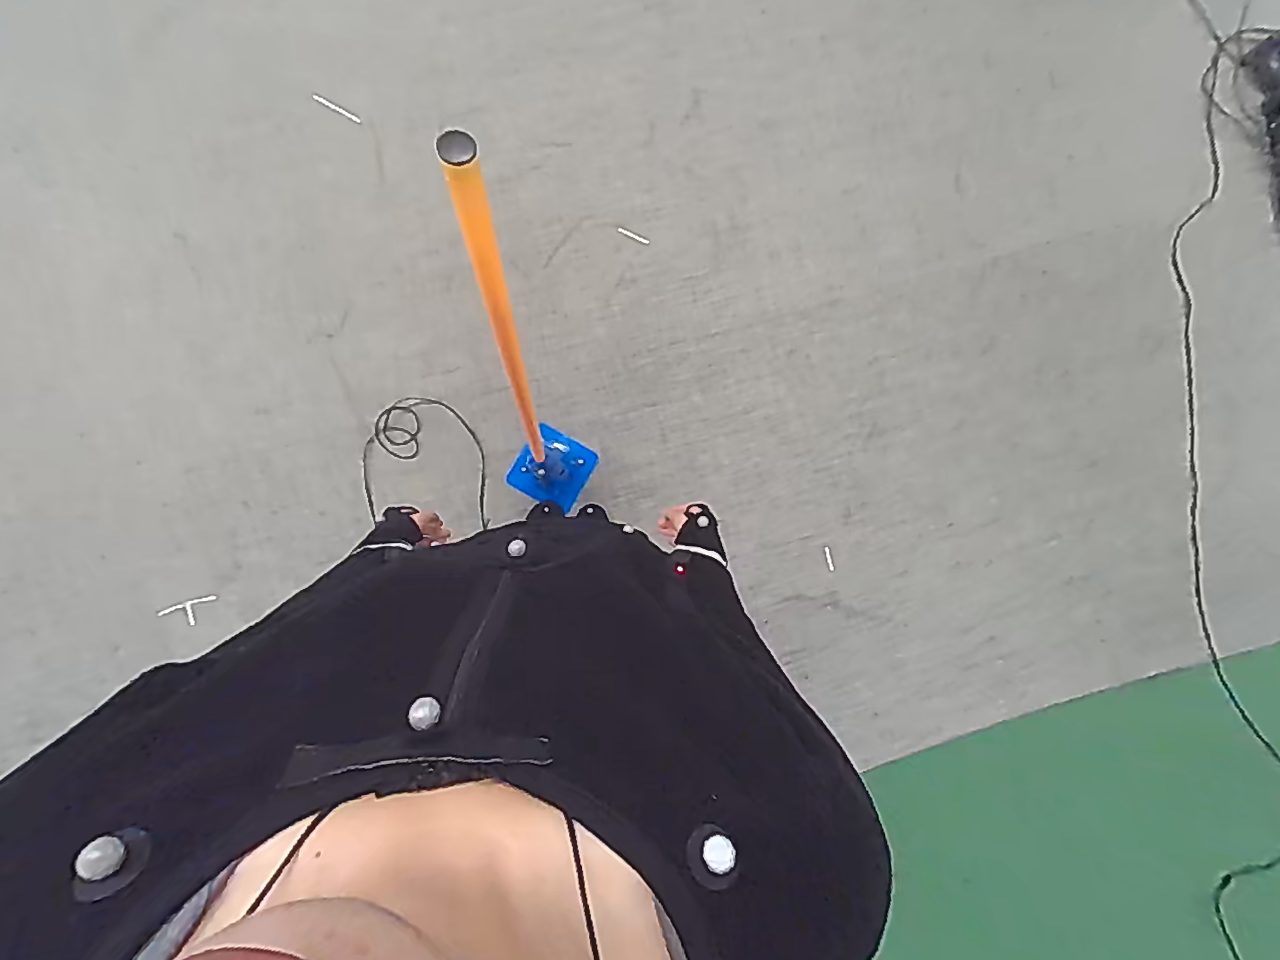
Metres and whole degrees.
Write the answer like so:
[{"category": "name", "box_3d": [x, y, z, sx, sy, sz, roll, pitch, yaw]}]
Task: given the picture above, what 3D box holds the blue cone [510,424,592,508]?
[{"category": "blue cone", "box_3d": [-0.229, -0.050, 1.321, 0.192, 0.380, 0.193, 29, 84, -3]}]
